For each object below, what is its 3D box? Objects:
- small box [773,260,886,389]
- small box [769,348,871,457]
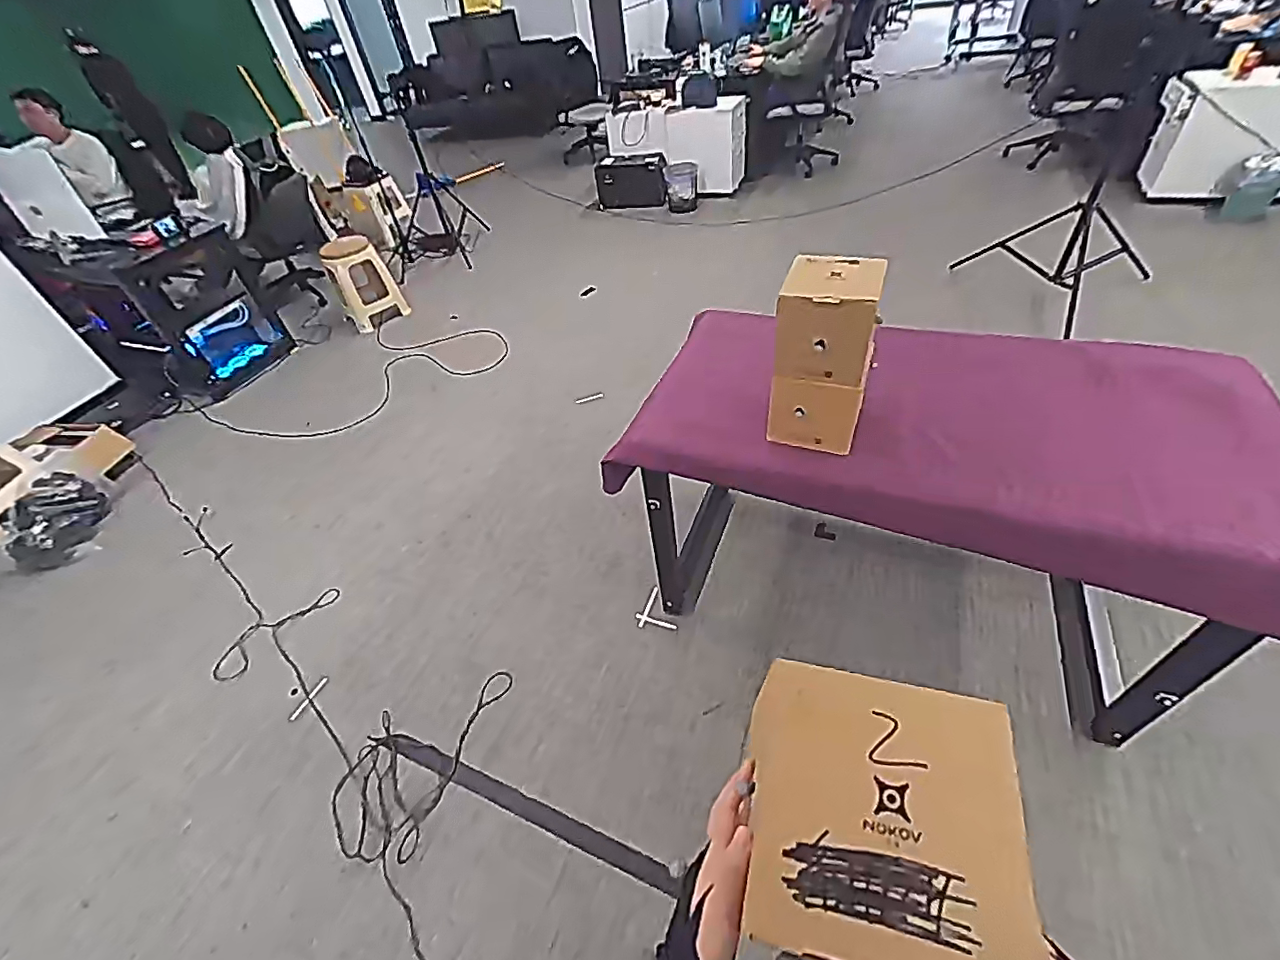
[{"bbox_3d":[0.351,-0.292,1.018,0.168,0.176,0.179,12,48,20],"label":"small box"},{"bbox_3d":[0.370,-0.172,1.128,0.168,0.176,0.179,13,47,21],"label":"small box"}]
